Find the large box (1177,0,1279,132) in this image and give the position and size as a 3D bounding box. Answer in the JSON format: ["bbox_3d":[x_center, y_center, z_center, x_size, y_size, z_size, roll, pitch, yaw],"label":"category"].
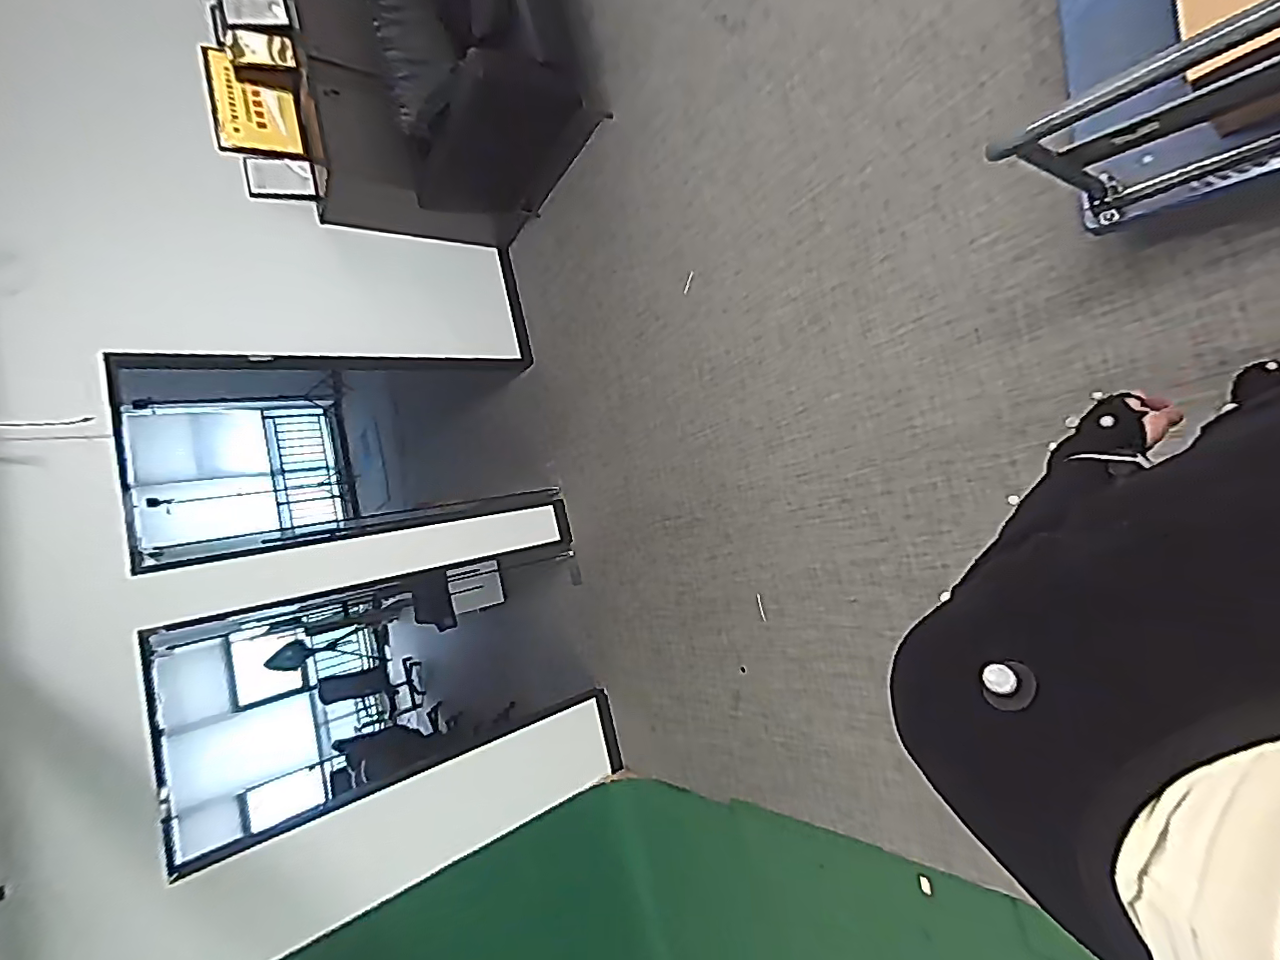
[{"bbox_3d":[1.003,-0.817,0.772,0.320,0.320,0.408,-7,91,52],"label":"large box"}]
